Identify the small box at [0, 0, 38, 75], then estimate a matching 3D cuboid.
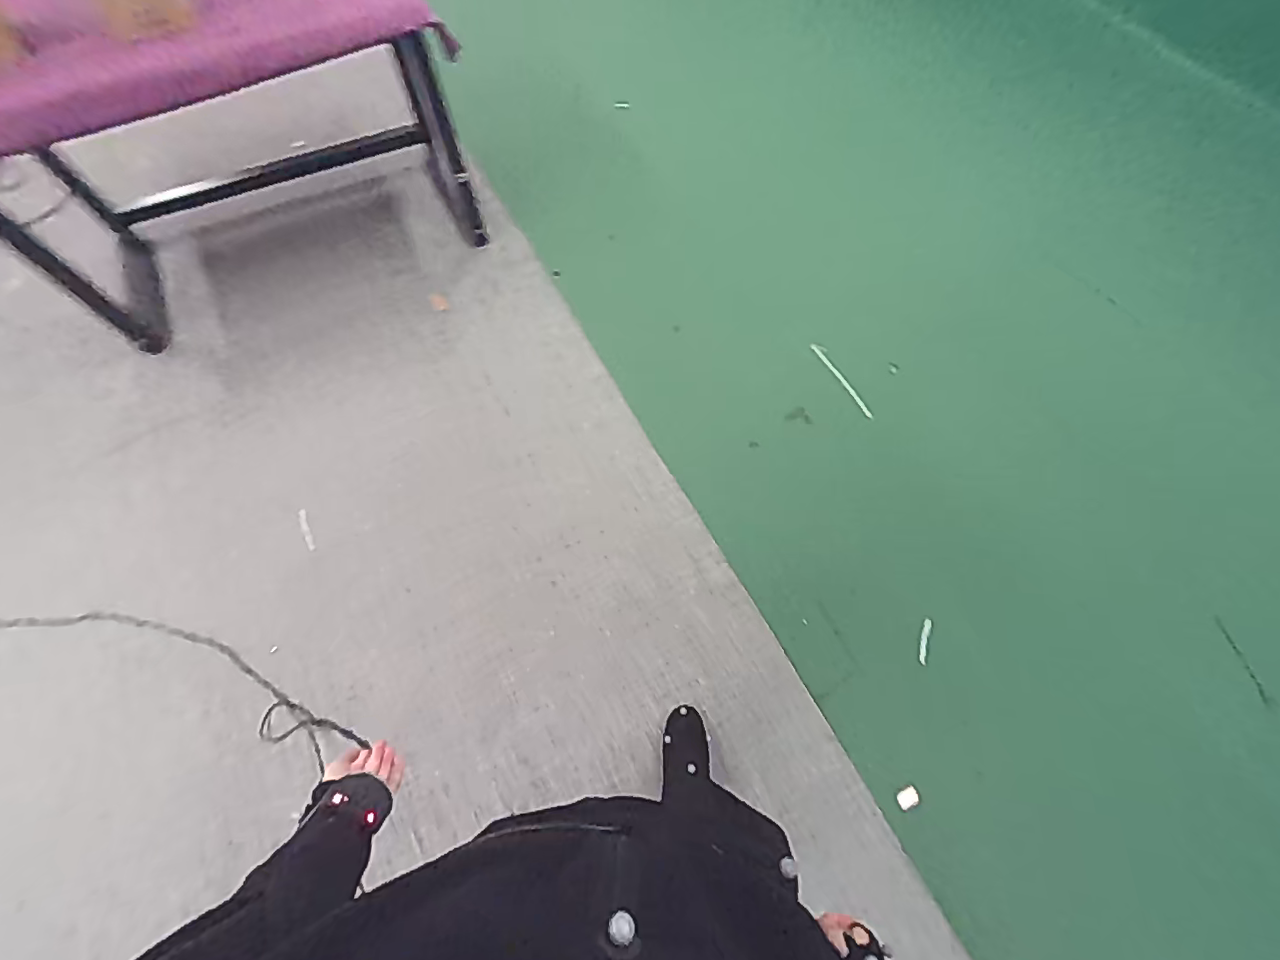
[{"bbox_3d":[-1.495,-1.007,1.179,0.179,0.176,0.168,-28,69,-14],"label":"small box"}]
